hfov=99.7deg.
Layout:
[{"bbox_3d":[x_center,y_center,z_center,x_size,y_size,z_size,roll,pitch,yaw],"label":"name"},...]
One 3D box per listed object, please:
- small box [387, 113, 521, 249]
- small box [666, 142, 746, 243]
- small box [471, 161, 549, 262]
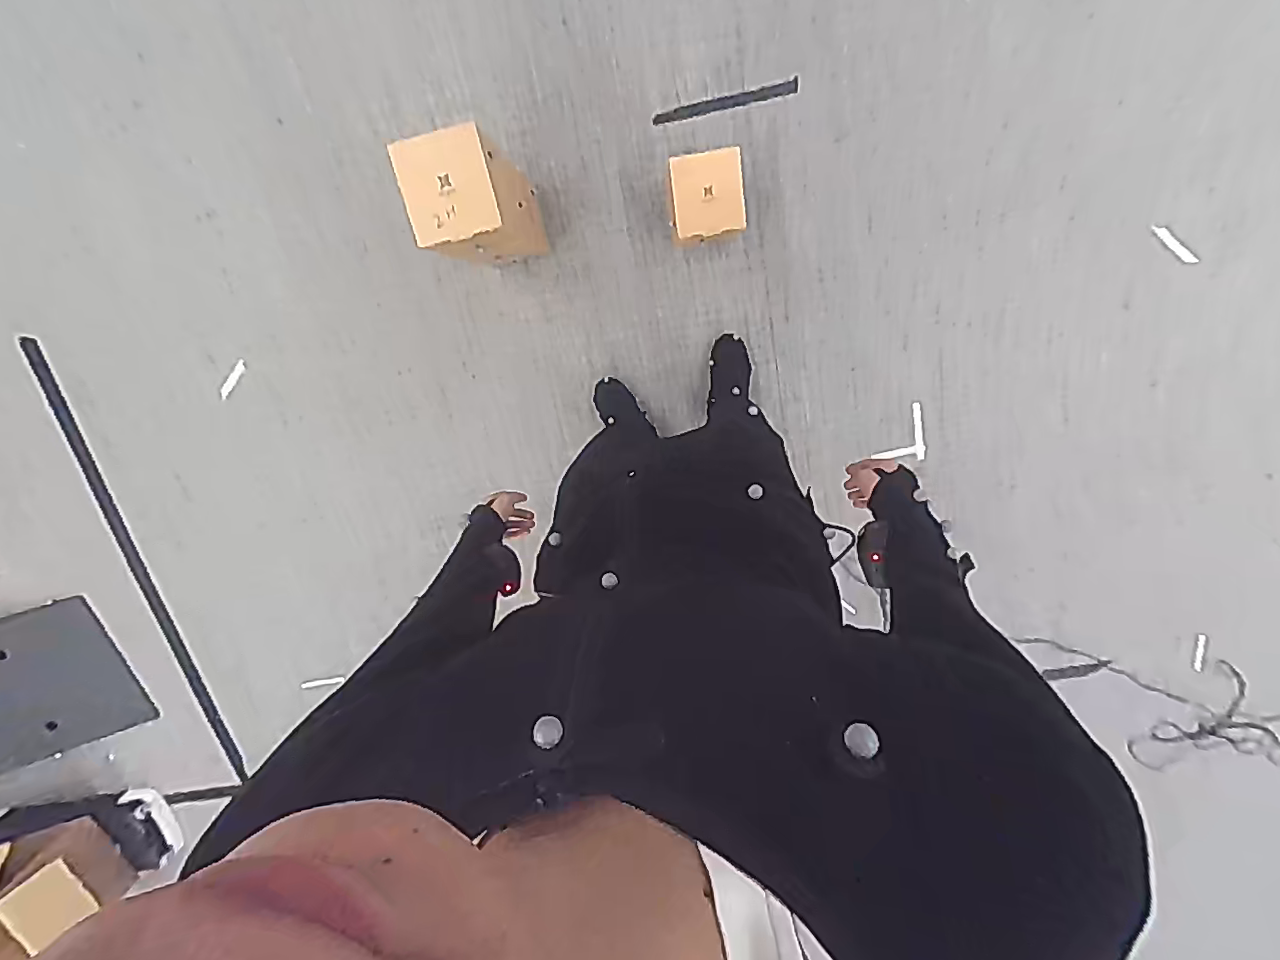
[{"bbox_3d":[-0.342,-0.557,1.031,0.168,0.176,0.179,-11,107,5],"label":"small box"},{"bbox_3d":[0.157,-0.698,1.330,0.168,0.176,0.179,-8,107,2],"label":"small box"},{"bbox_3d":[-0.336,-0.658,1.343,0.168,0.176,0.179,-12,106,5],"label":"small box"}]
